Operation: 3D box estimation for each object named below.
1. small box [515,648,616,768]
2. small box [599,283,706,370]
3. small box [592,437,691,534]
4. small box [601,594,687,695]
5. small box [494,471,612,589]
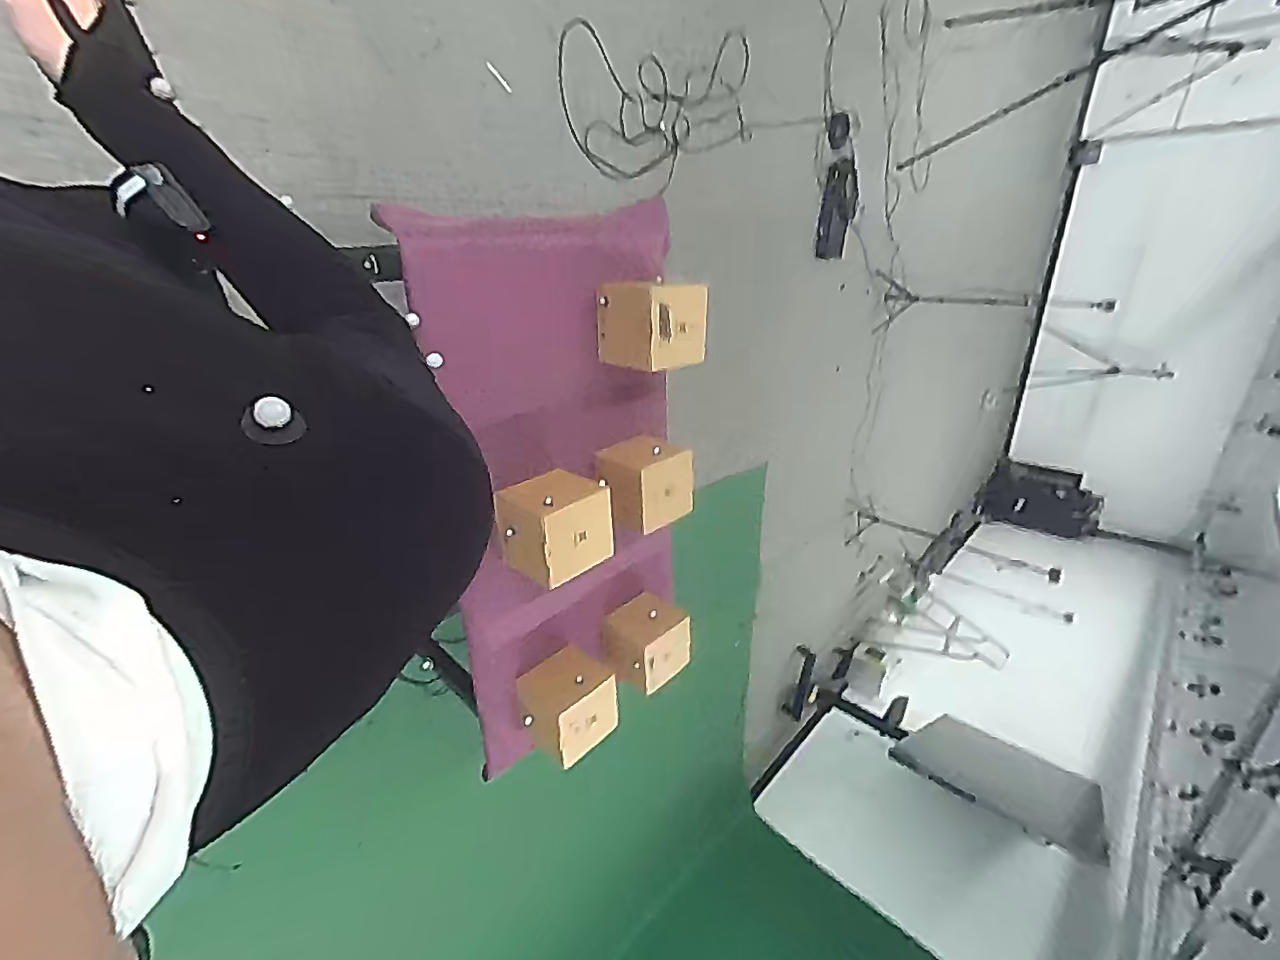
[{"bbox_3d":[-0.178,0.540,1.310,0.179,0.176,0.168,-23,119,-42],"label":"small box"},{"bbox_3d":[0.022,-0.341,1.184,0.179,0.176,0.168,-20,120,-41],"label":"small box"},{"bbox_3d":[0.005,0.004,1.310,0.179,0.176,0.168,-22,120,-40],"label":"small box"},{"bbox_3d":[0.012,0.442,1.488,0.179,0.176,0.168,-25,121,-40],"label":"small box"},{"bbox_3d":[-0.181,0.094,1.139,0.179,0.176,0.168,-24,123,-40],"label":"small box"}]
